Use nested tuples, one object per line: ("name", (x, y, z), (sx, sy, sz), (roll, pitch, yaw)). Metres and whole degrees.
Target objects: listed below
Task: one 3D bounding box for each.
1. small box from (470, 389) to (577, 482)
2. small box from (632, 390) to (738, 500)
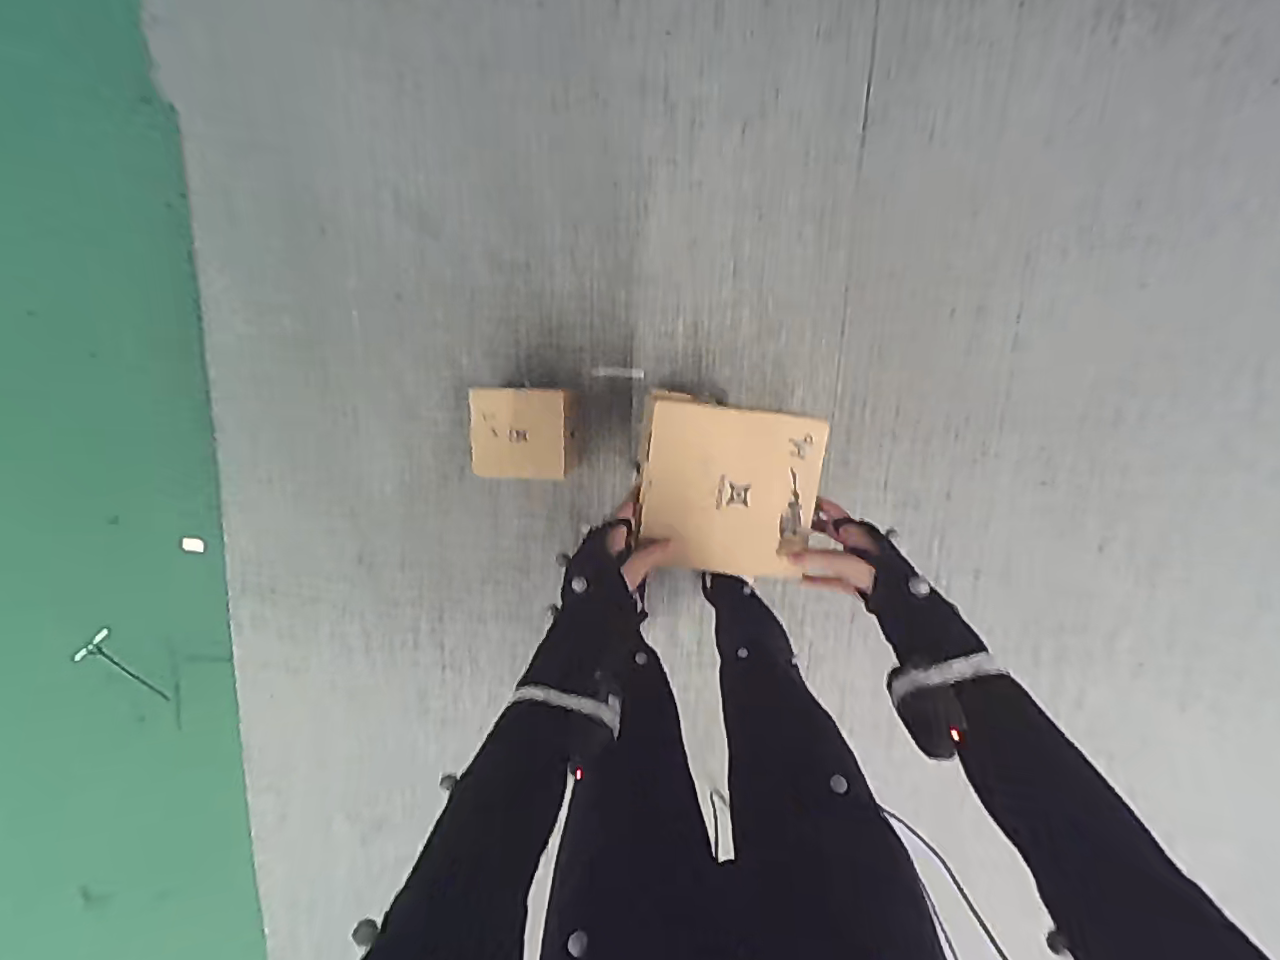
("small box", (-0.222, -0.094, 1.070), (0.179, 0.176, 0.168), (2, 100, 3))
("small box", (0.083, -0.076, 1.063), (0.168, 0.176, 0.179), (12, 101, 1))
